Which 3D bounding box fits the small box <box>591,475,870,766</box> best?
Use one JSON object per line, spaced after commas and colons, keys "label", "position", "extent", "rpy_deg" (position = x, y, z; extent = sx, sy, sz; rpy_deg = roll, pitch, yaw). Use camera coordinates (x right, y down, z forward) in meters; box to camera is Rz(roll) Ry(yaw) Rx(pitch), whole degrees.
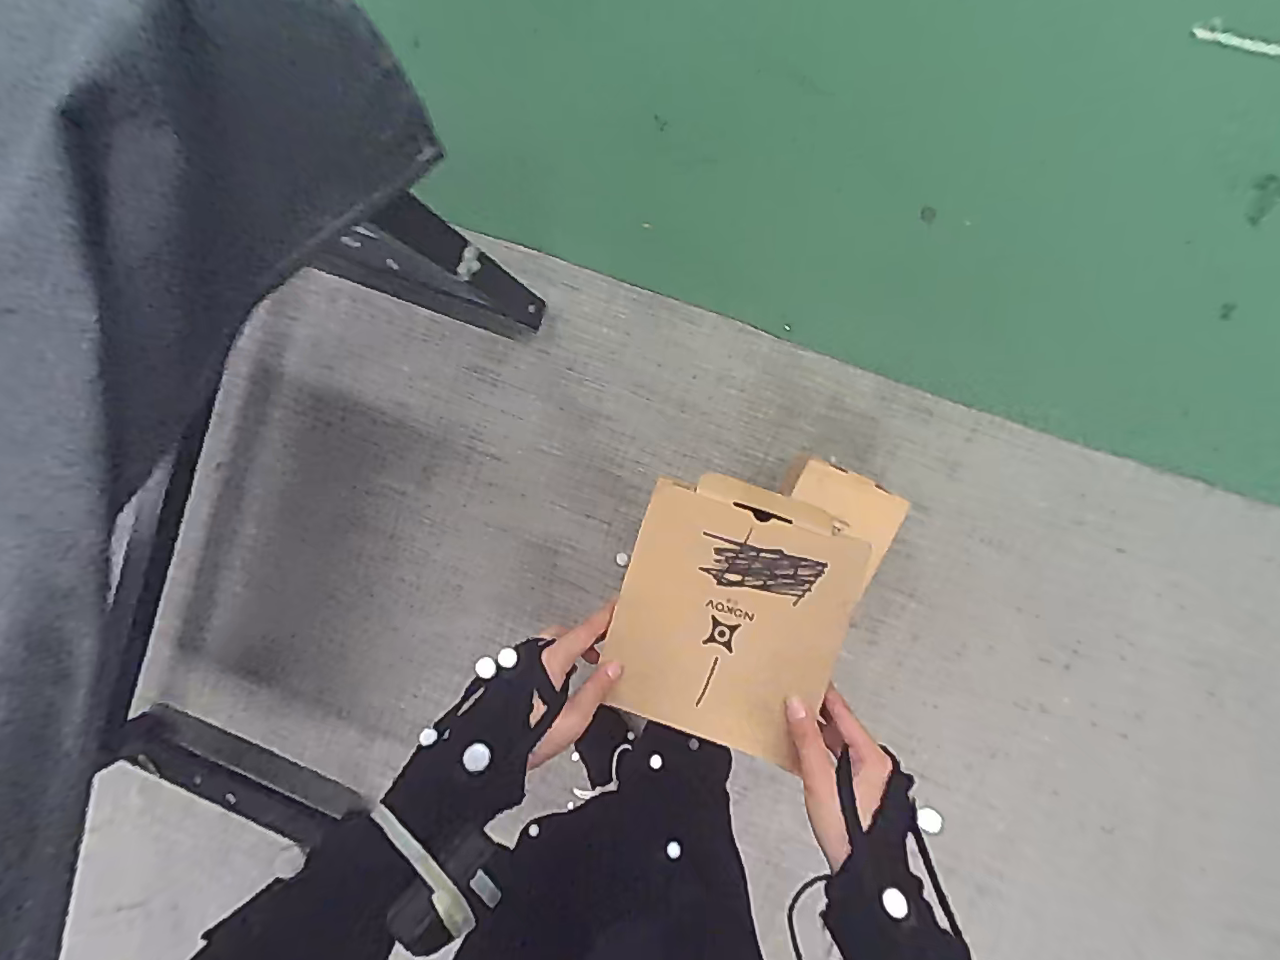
{"label": "small box", "position": [0.070, 0.101, 0.474], "extent": [0.168, 0.176, 0.179], "rpy_deg": [17, 92, 5]}

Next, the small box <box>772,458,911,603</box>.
{"label": "small box", "position": [0.311, 0.072, 0.905], "extent": [0.168, 0.176, 0.179], "rpy_deg": [26, 98, 6]}
